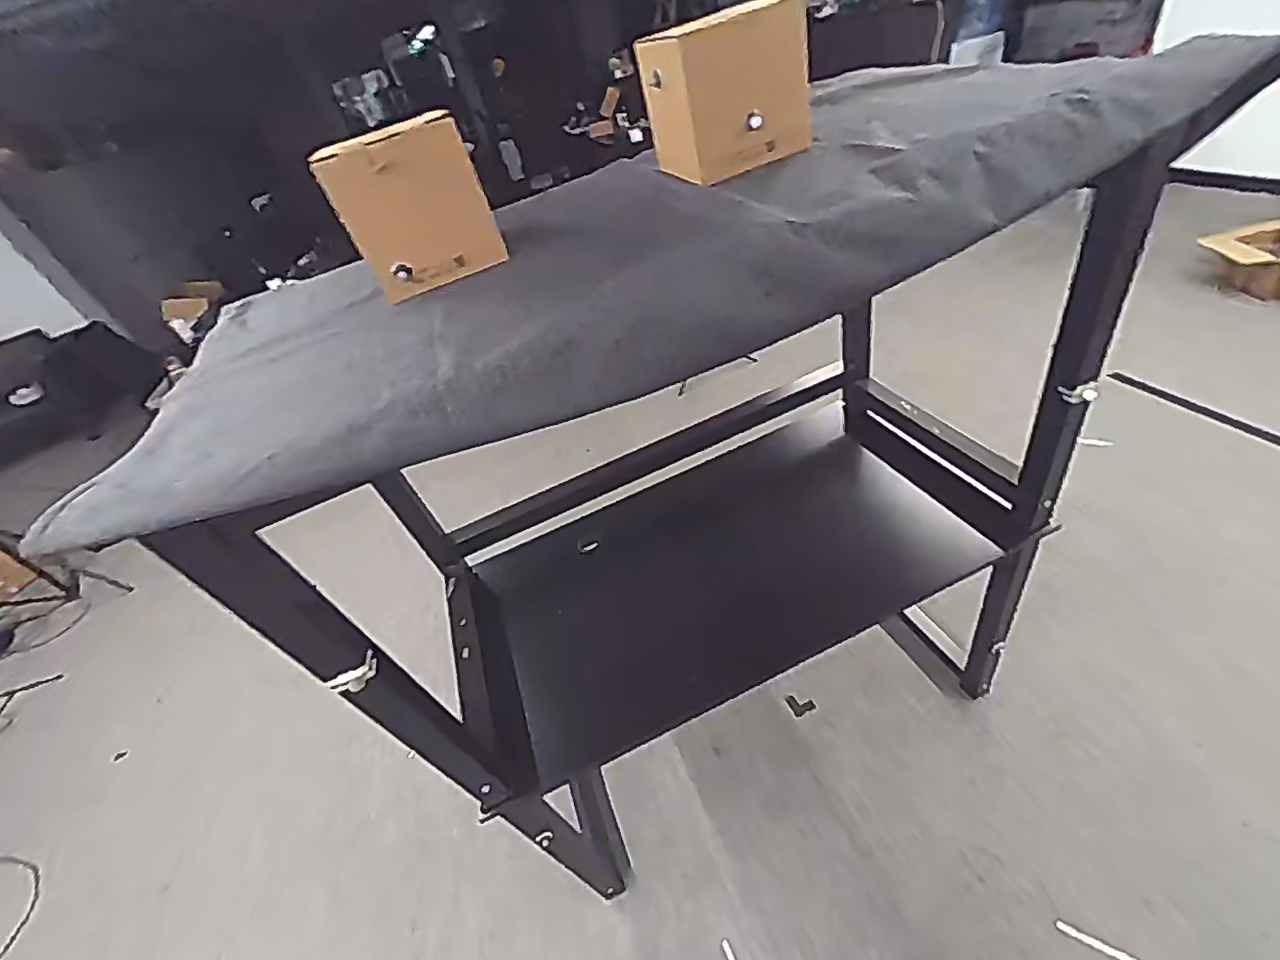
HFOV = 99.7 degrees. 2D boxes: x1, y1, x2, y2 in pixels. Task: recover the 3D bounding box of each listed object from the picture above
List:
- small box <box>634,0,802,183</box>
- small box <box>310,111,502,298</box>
[{"bbox_3d":[0.109,-0.536,0.755,0.168,0.176,0.179,-23,40,-4],"label":"small box"},{"bbox_3d":[-0.298,-0.362,0.716,0.168,0.176,0.179,-24,39,-7],"label":"small box"}]
